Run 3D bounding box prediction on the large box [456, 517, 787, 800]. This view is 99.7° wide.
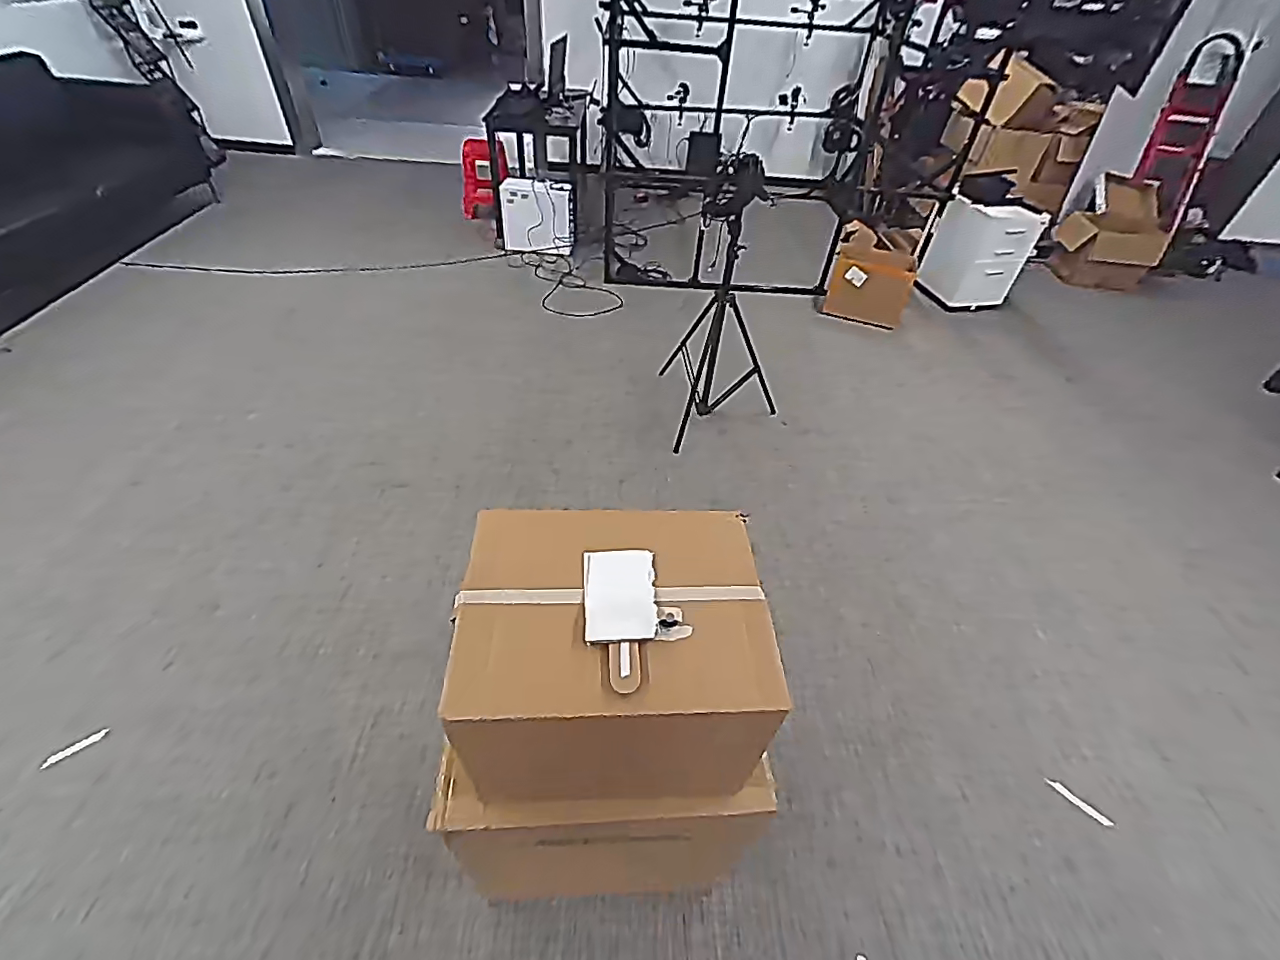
[{"bbox_3d":[-0.039,0.272,0.843,0.408,0.320,0.320,1,44,-6],"label":"large box"}]
